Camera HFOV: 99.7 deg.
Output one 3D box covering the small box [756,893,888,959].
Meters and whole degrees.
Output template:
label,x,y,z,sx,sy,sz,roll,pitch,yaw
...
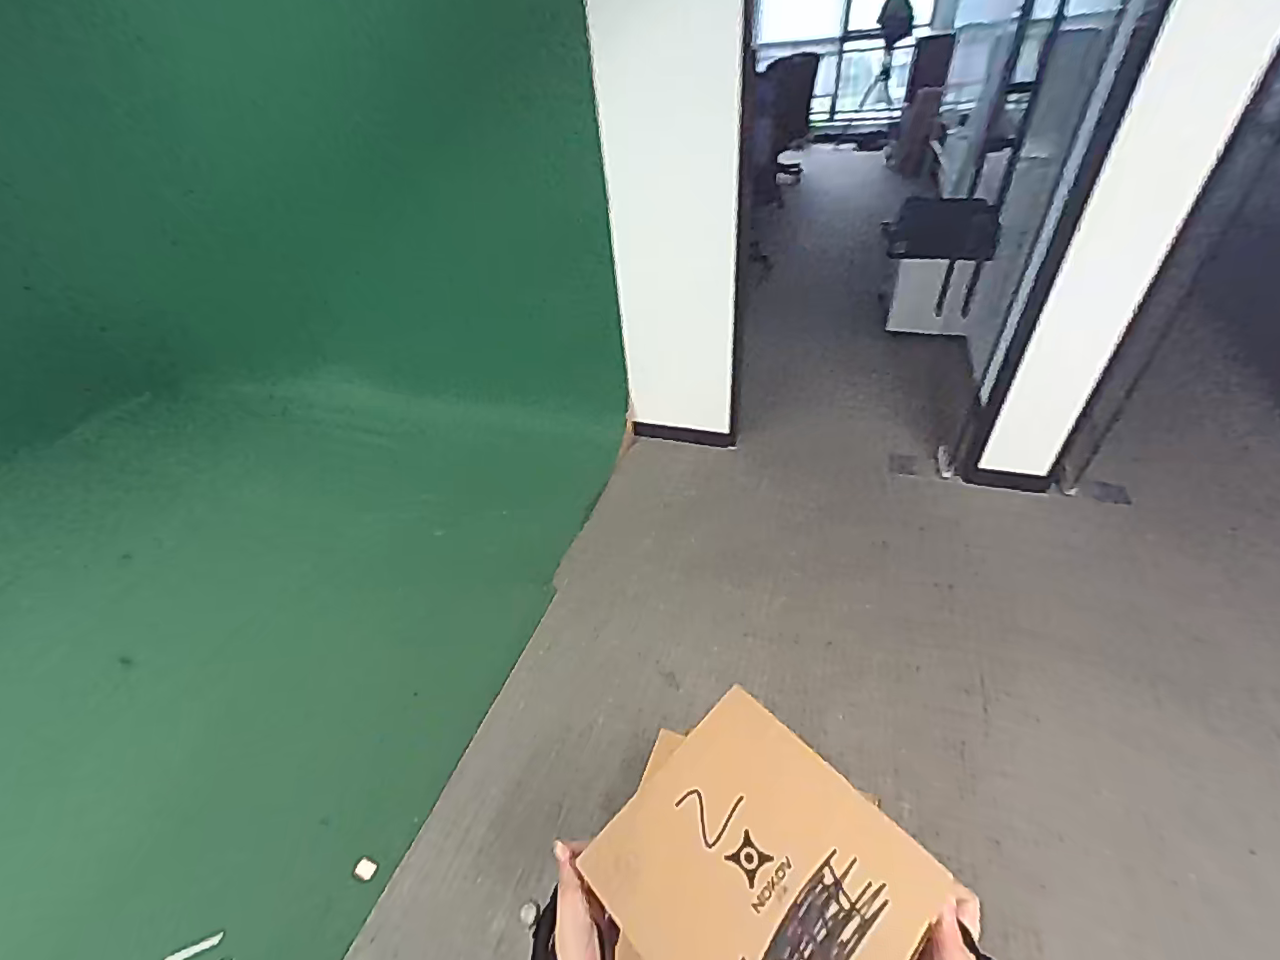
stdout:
label,x,y,z,sx,sy,sz,roll,pitch,yaw
small box,0.252,0.770,0.799,0.168,0.176,0.179,14,42,22
